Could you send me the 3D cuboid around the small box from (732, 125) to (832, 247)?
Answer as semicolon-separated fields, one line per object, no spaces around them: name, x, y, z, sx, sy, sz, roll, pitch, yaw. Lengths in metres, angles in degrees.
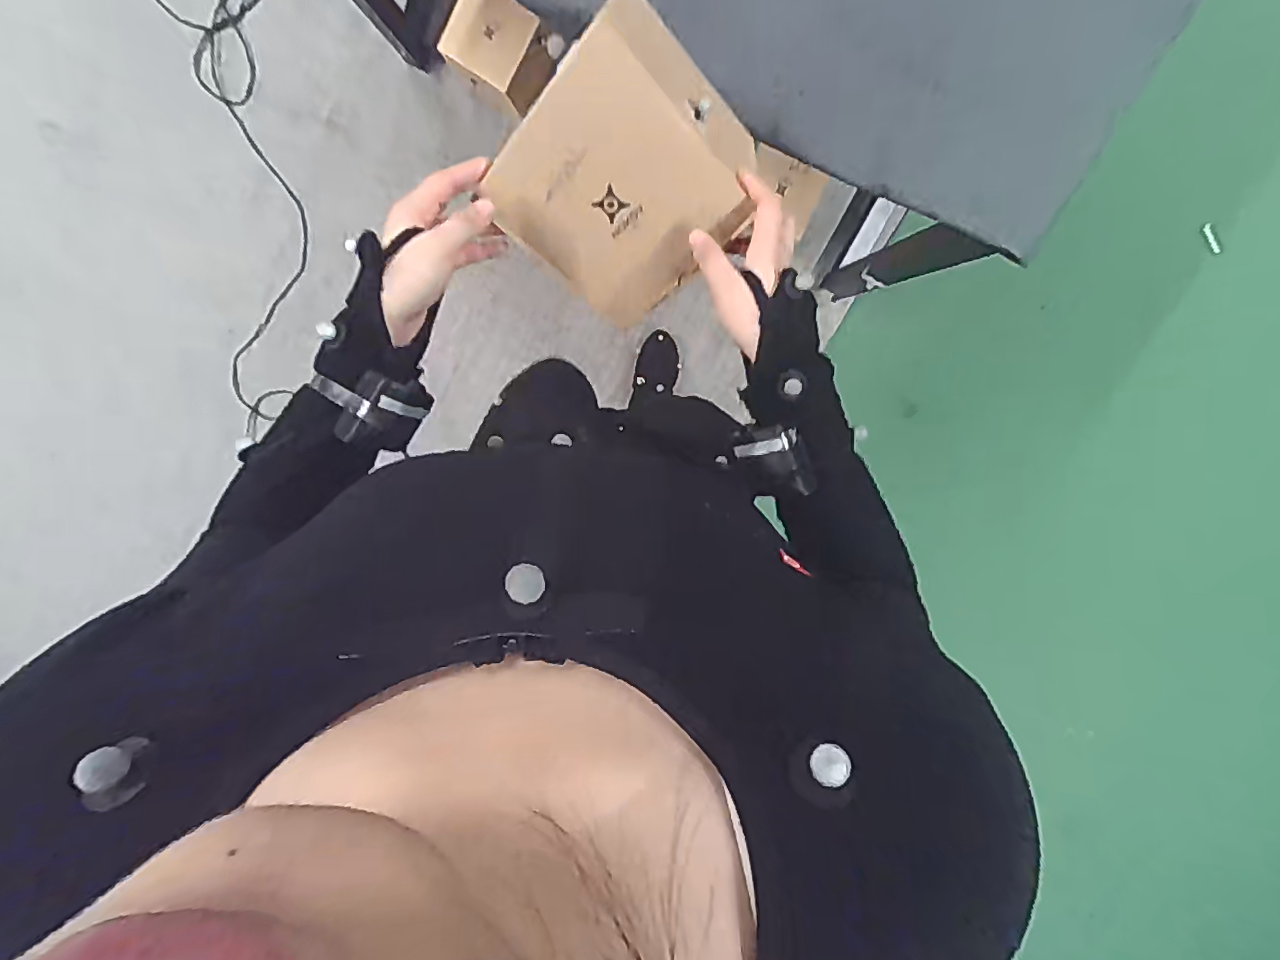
small box;0.300;-0.653;1.228;0.168;0.176;0.179;22;104;-5

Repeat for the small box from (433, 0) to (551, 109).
small box;-0.309;-0.948;1.172;0.168;0.176;0.179;31;102;-6

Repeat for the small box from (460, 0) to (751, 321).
small box;-0.020;-0.286;0.476;0.179;0.176;0.168;34;133;-30
